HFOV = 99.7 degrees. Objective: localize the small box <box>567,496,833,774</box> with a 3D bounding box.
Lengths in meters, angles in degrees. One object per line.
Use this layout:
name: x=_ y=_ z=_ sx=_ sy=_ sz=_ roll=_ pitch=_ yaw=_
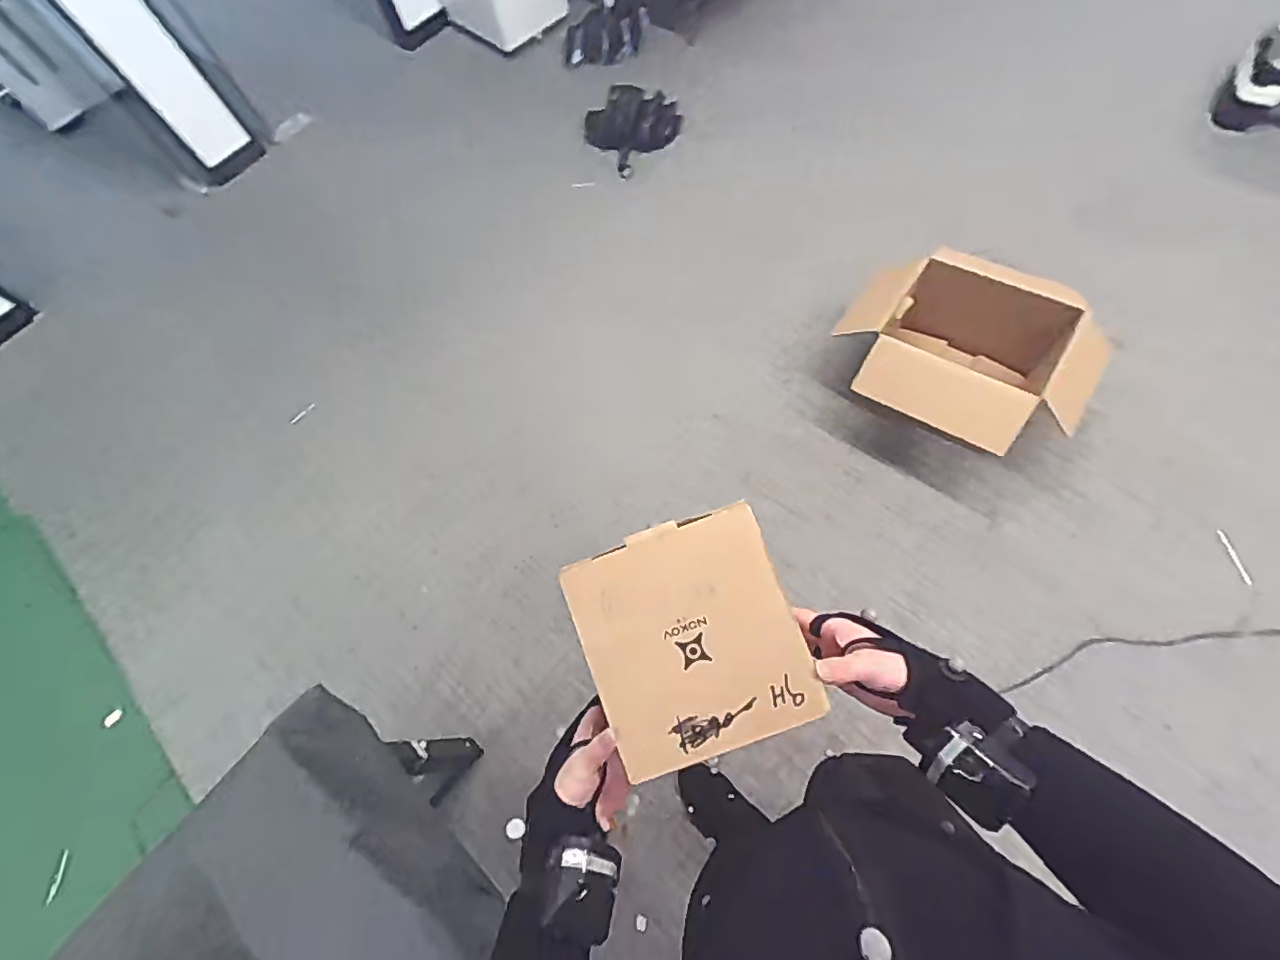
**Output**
small box: x=0.049 y=0.129 z=0.500 sx=0.168 sy=0.176 sz=0.179 roll=-20 pitch=82 yaw=3
